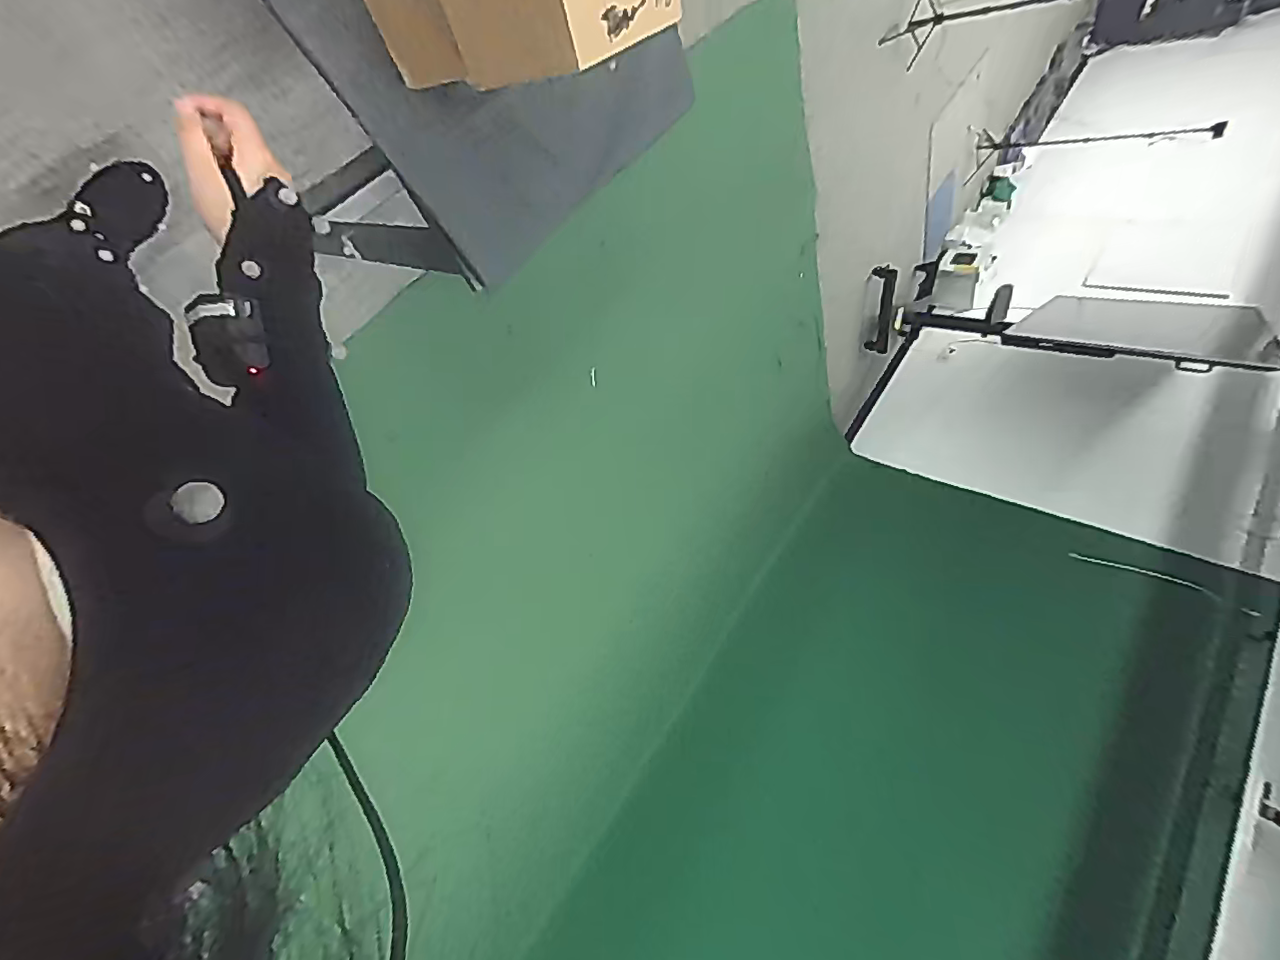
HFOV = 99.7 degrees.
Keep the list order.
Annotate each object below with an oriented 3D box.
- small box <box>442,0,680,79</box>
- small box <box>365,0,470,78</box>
[{"bbox_3d":[-0.091,-0.511,0.505,0.168,0.176,0.179,-47,139,-26],"label":"small box"},{"bbox_3d":[-0.209,-0.581,0.597,0.168,0.176,0.179,-49,142,-23],"label":"small box"}]
